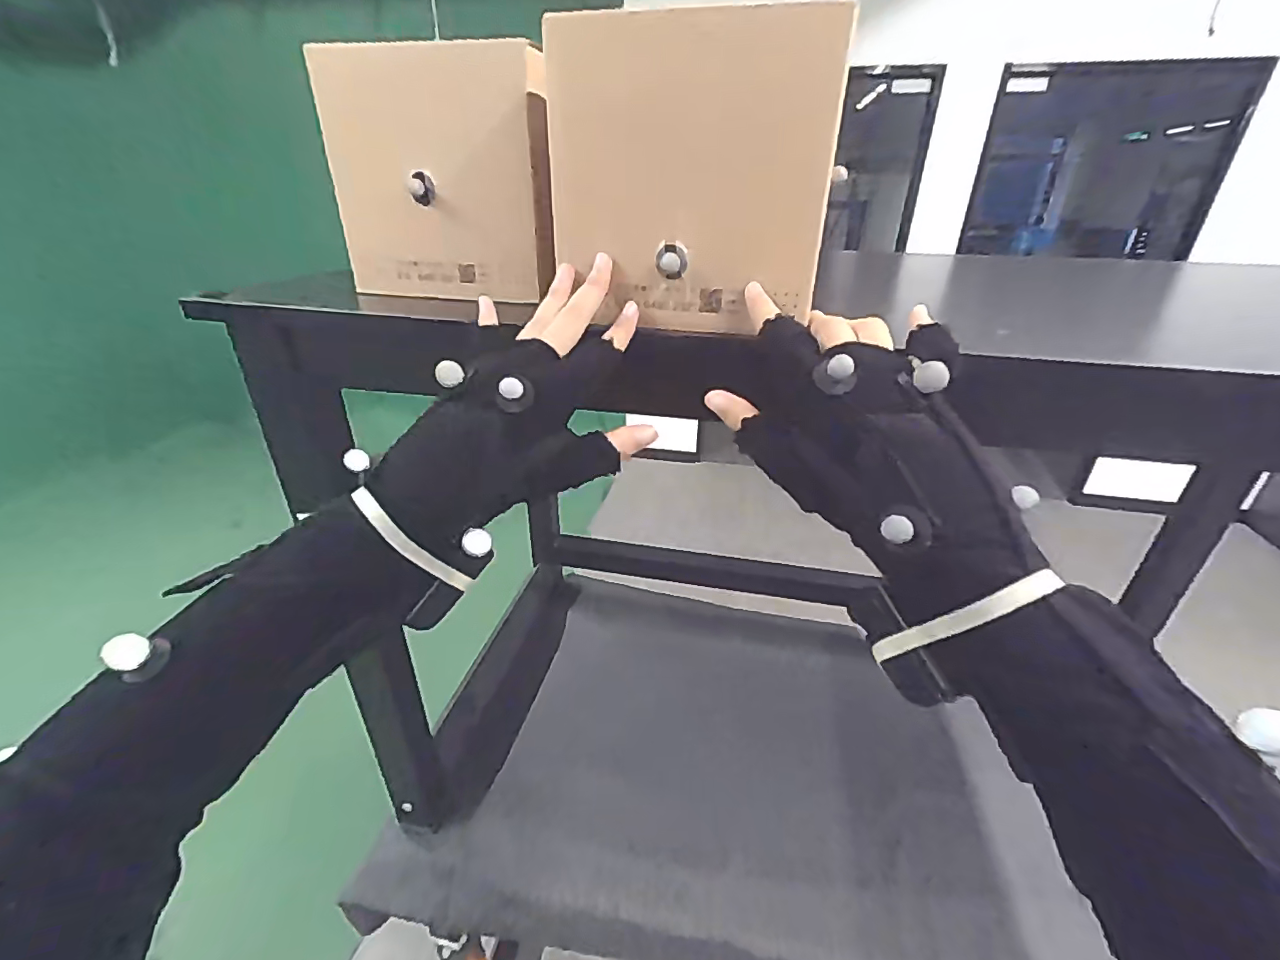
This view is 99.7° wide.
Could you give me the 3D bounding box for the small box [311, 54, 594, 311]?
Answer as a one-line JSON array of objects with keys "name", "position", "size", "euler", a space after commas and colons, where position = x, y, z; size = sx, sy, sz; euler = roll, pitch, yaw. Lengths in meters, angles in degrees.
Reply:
[{"name": "small box", "position": [-0.140, -0.252, 0.479], "size": [0.168, 0.176, 0.179], "euler": [7, 28, 10]}]
